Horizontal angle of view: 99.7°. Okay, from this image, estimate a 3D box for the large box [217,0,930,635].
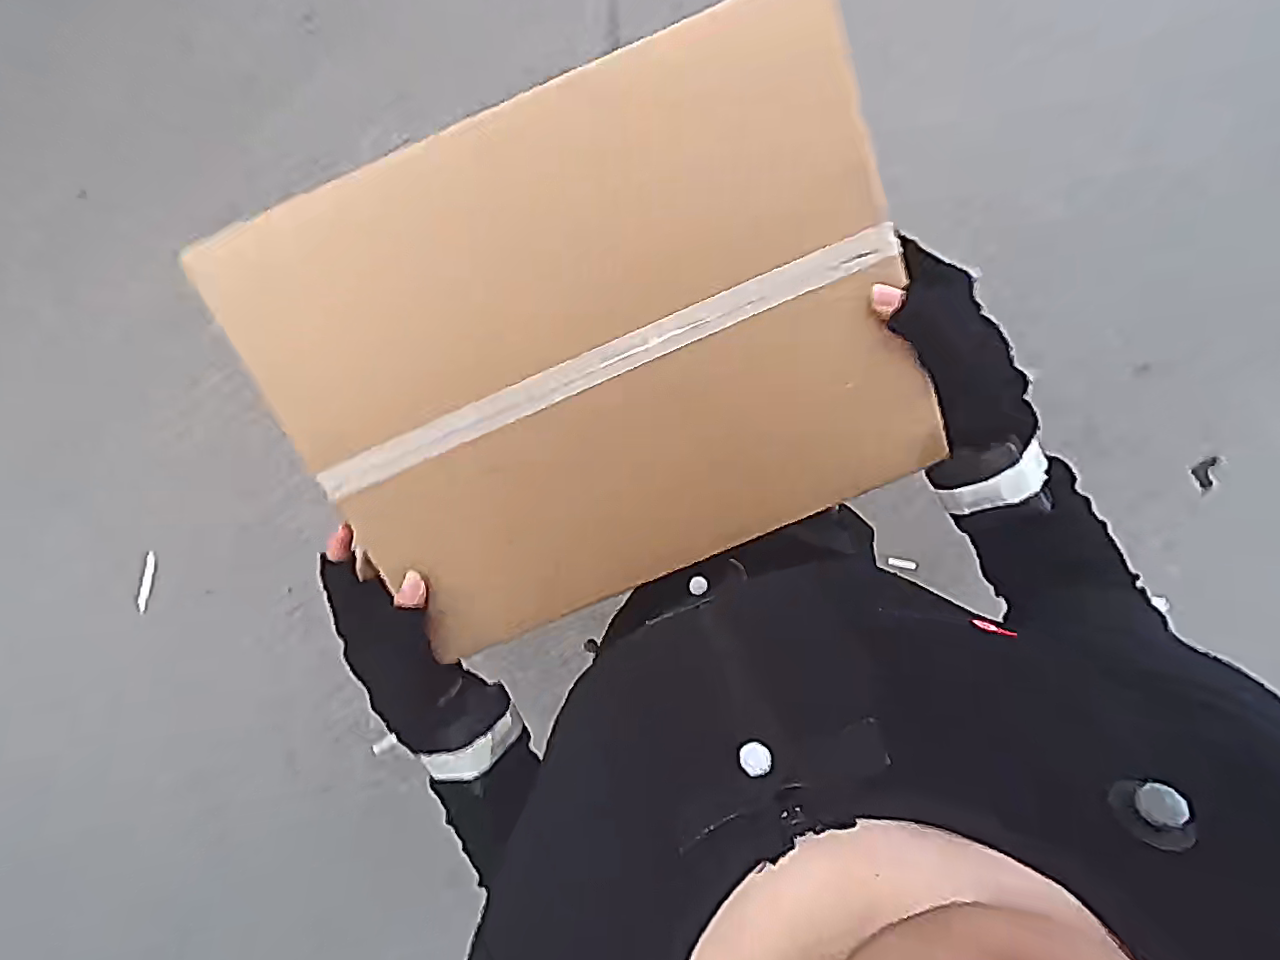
[{"bbox_3d":[-0.035,-0.129,0.505,0.408,0.320,0.320,-22,108,3],"label":"large box"}]
